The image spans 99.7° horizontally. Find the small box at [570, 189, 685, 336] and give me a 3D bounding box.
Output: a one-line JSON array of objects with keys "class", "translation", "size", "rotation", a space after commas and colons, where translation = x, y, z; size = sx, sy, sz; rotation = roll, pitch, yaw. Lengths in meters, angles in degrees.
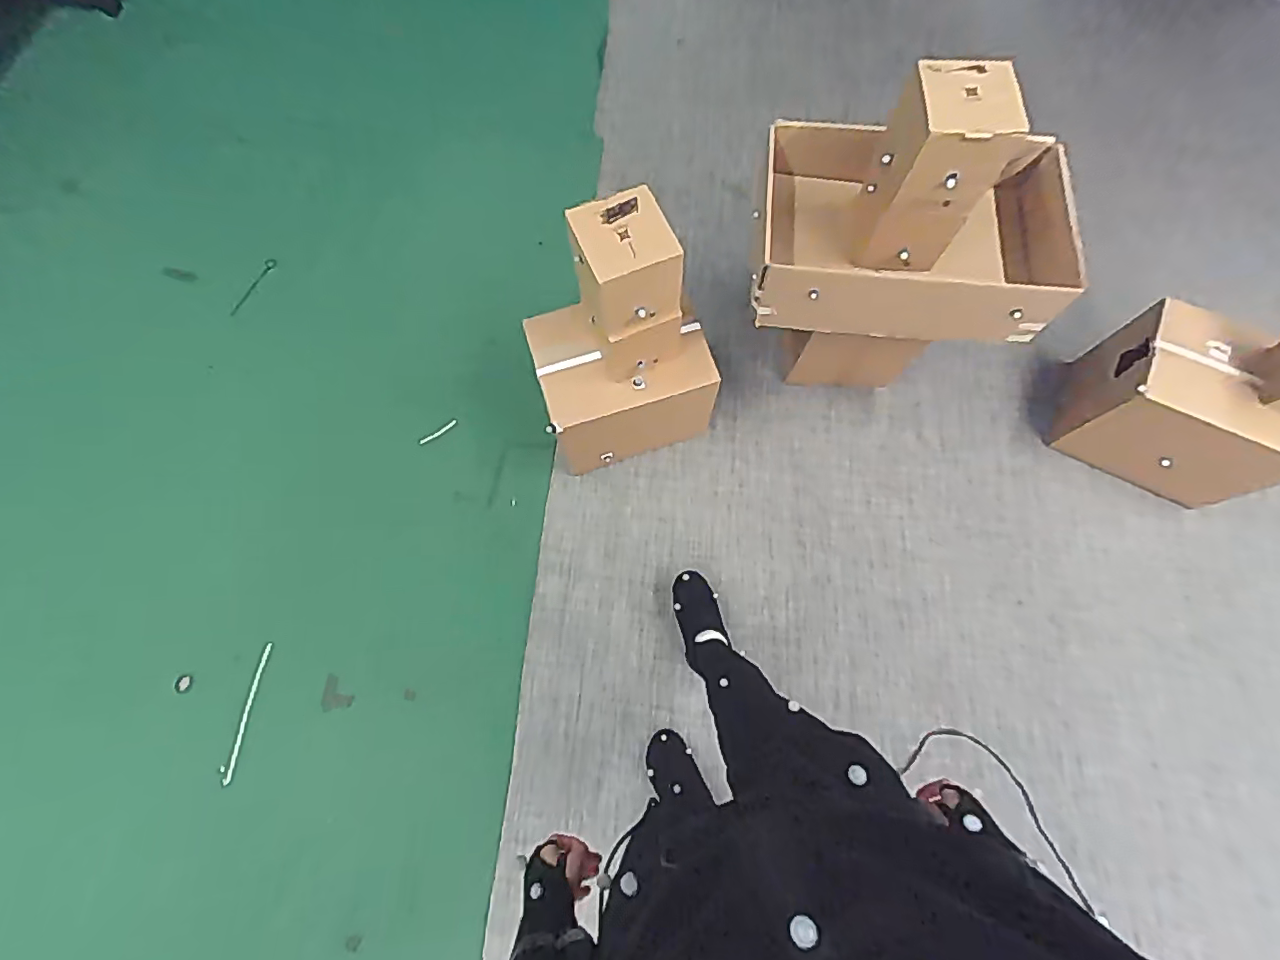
[{"class": "small box", "translation": [-0.024, -0.417, 1.052], "size": [0.168, 0.176, 0.179], "rotation": [-22, 72, -6]}]

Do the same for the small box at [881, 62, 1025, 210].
[{"class": "small box", "translation": [0.567, -0.630, 1.005], "size": [0.168, 0.176, 0.179], "rotation": [2, 72, 1]}]

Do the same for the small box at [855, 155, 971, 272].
[{"class": "small box", "translation": [0.573, -0.578, 1.160], "size": [0.168, 0.176, 0.179], "rotation": [4, 72, 3]}]
